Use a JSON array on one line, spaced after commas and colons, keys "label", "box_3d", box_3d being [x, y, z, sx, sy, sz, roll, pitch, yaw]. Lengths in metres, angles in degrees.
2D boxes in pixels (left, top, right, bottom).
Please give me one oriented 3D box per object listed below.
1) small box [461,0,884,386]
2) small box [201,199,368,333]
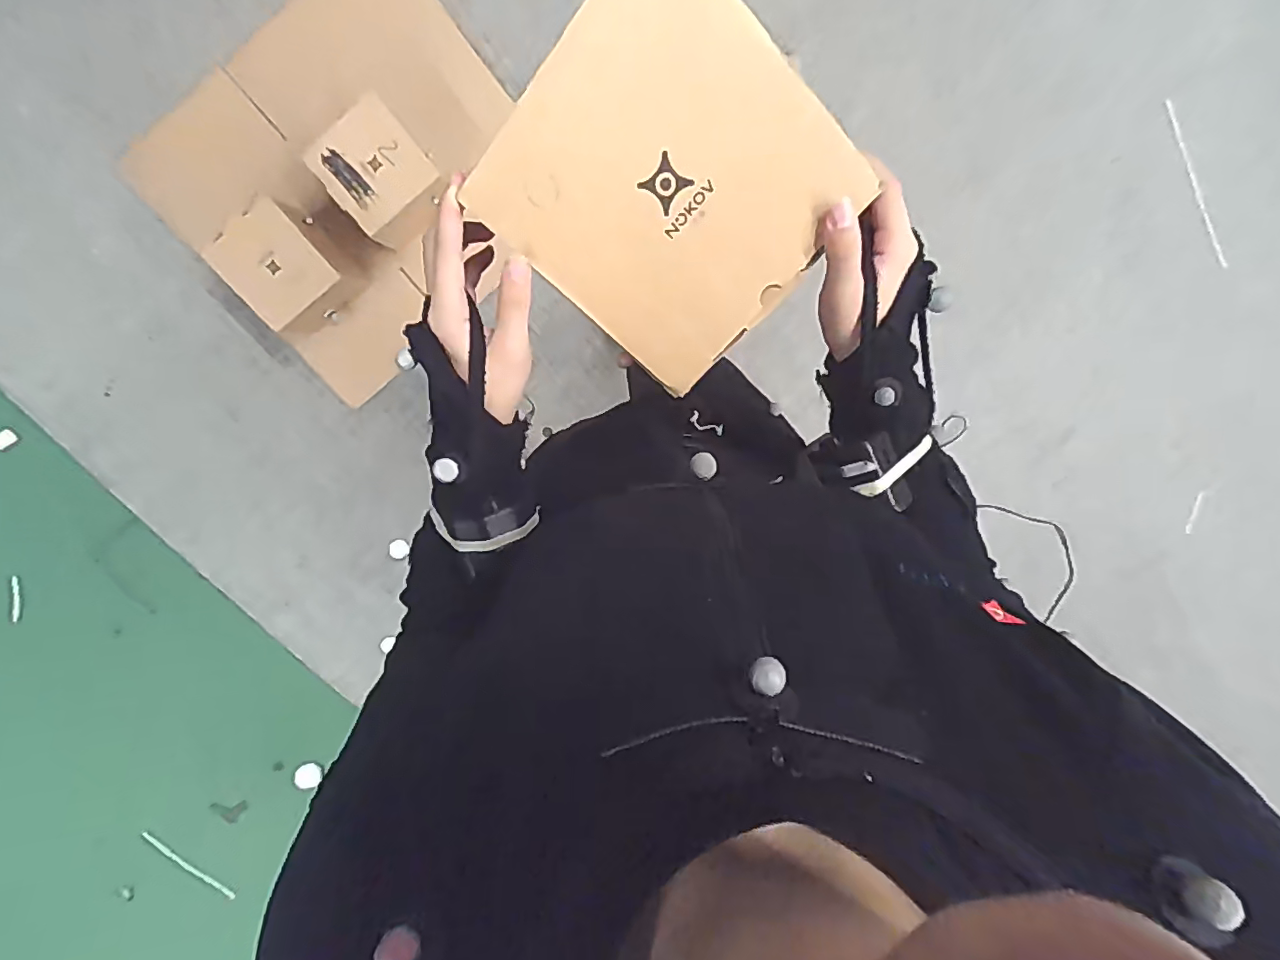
[{"label": "small box", "box_3d": [0.015, -0.198, 0.366, 0.179, 0.176, 0.168, 38, 109, -19]}, {"label": "small box", "box_3d": [-0.675, -0.402, 1.051, 0.168, 0.176, 0.179, -39, 107, 4]}]
